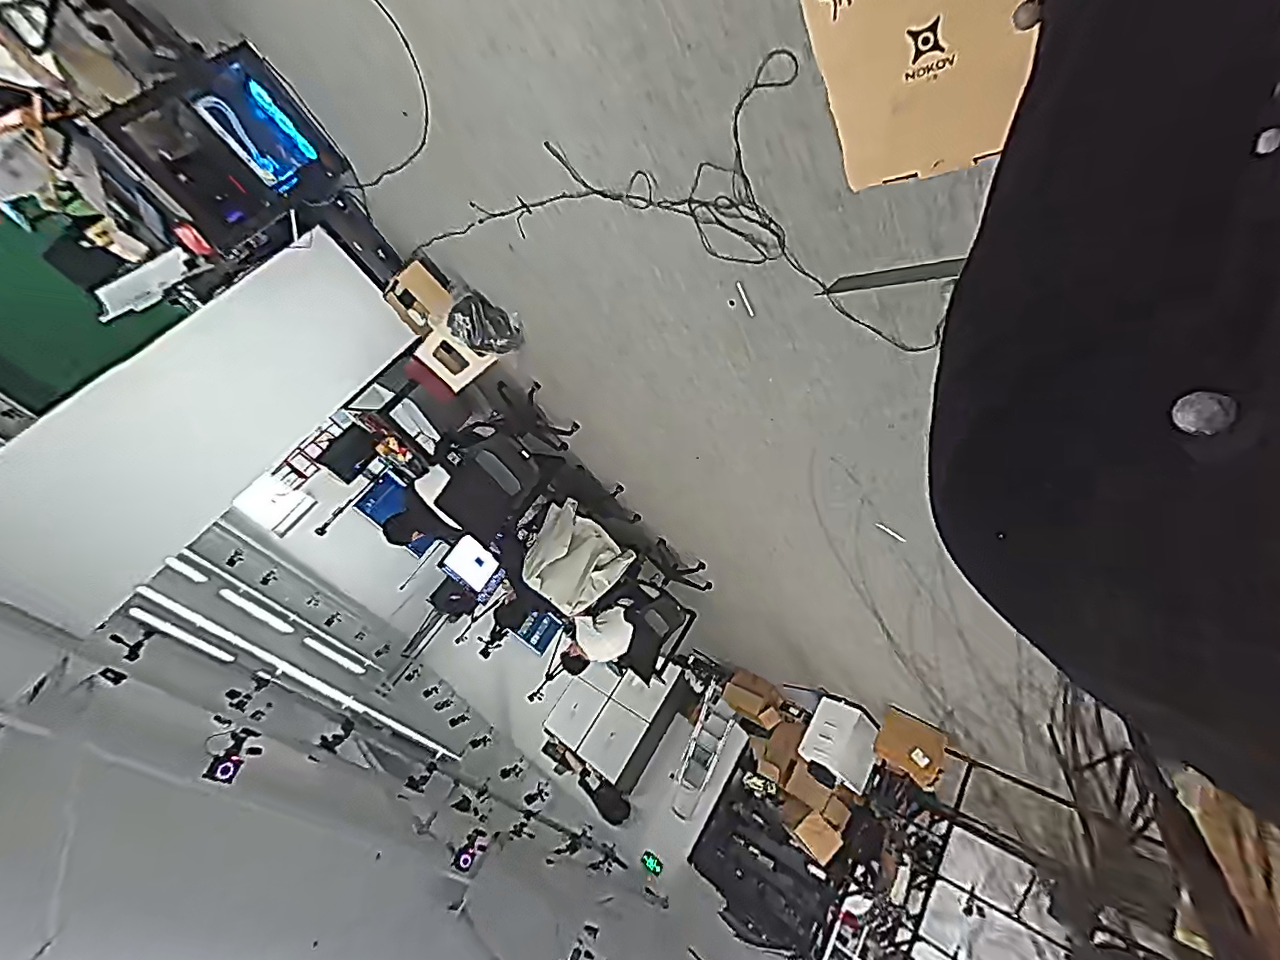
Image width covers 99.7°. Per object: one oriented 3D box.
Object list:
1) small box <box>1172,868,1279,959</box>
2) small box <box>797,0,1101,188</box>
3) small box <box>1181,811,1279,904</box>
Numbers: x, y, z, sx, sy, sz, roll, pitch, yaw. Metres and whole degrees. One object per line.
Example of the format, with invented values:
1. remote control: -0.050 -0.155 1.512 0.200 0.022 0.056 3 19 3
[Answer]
1. small box: 1.597 1.198 1.475 0.179 0.176 0.168 12 147 43
2. small box: 0.258 -0.384 0.442 0.168 0.176 0.179 10 146 45
3. small box: 1.684 1.076 1.537 0.179 0.176 0.168 12 147 44
